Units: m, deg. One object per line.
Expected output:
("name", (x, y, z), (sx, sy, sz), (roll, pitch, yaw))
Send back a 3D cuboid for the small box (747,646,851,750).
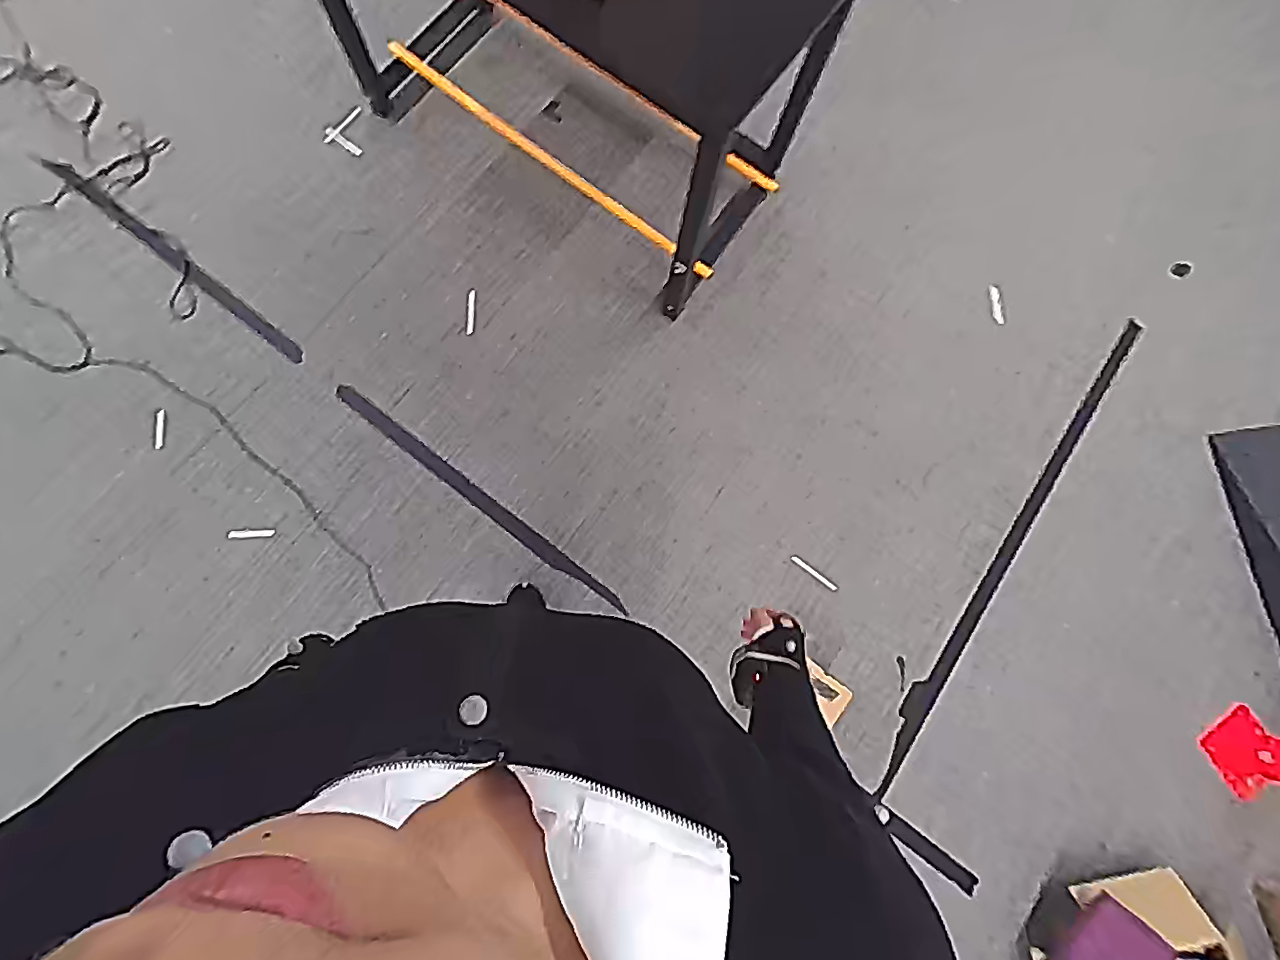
("small box", (0.403, 0.555, 1.409), (0.168, 0.176, 0.179), (39, 80, 4))
